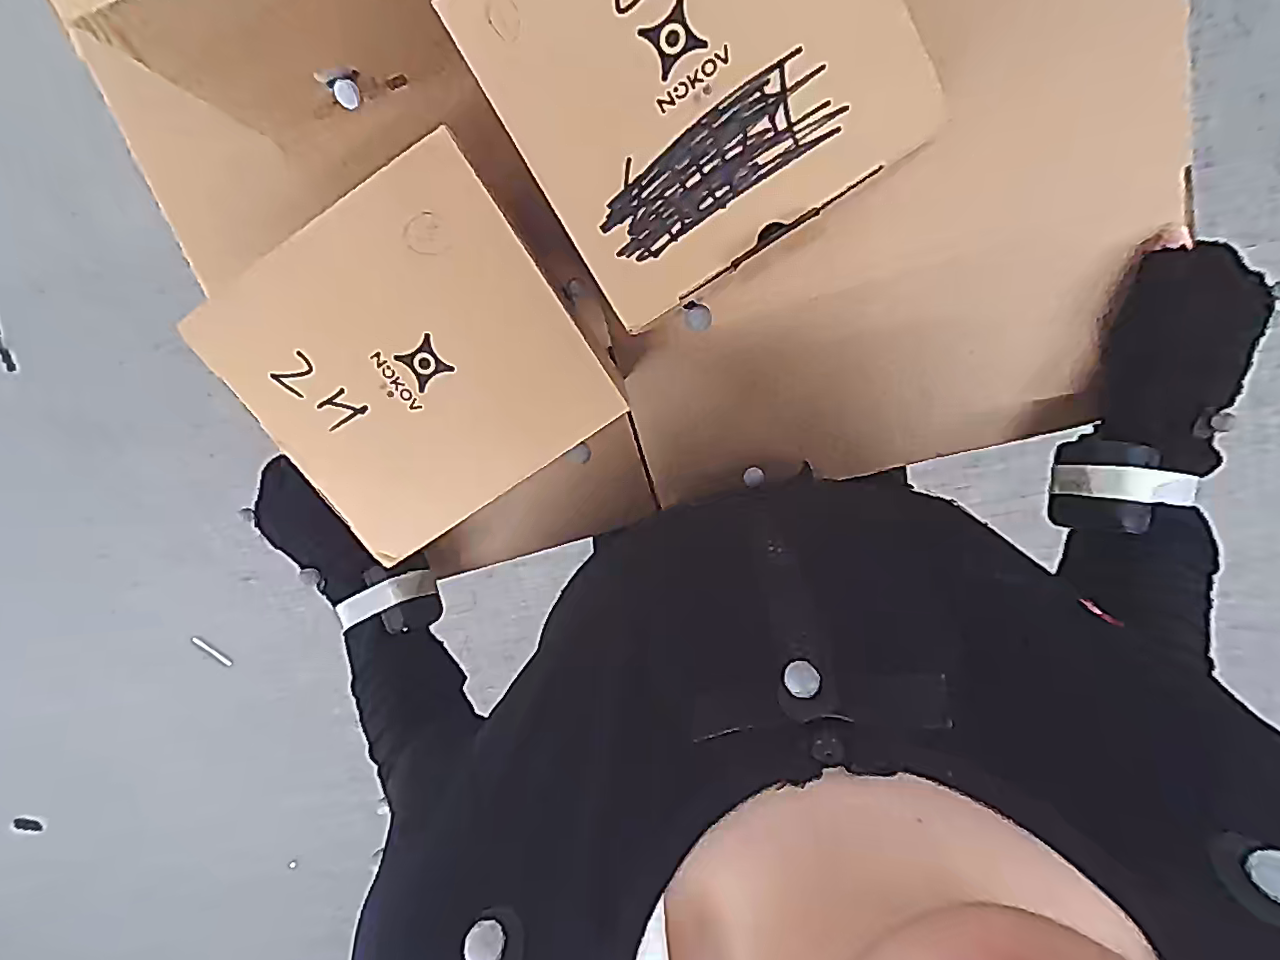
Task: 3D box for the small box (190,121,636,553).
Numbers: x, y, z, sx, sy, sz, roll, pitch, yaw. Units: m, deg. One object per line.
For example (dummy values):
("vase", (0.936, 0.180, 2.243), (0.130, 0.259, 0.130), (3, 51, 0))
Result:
("small box", (-0.121, -0.088, 0.364), (0.179, 0.176, 0.168), (-32, 105, 6))
